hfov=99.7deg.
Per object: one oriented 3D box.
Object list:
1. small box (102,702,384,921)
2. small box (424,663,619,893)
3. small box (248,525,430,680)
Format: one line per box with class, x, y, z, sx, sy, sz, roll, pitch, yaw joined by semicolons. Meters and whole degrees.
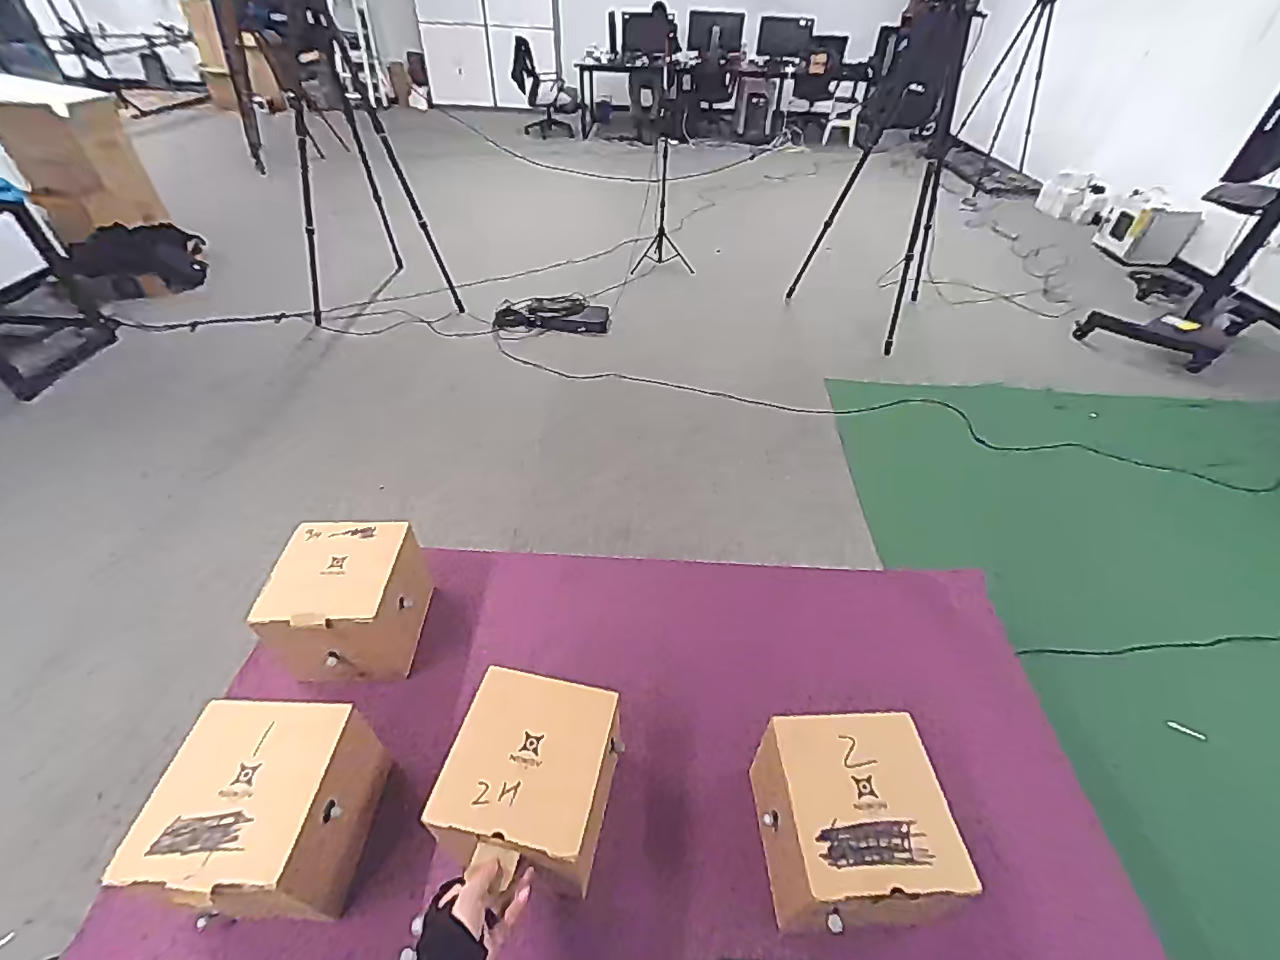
small box;-0.418;0.378;0.615;0.168;0.176;0.179;2;41;0
small box;-0.126;0.355;0.650;0.168;0.176;0.179;9;43;9
small box;-0.434;0.188;0.820;0.168;0.176;0.179;0;44;-3
